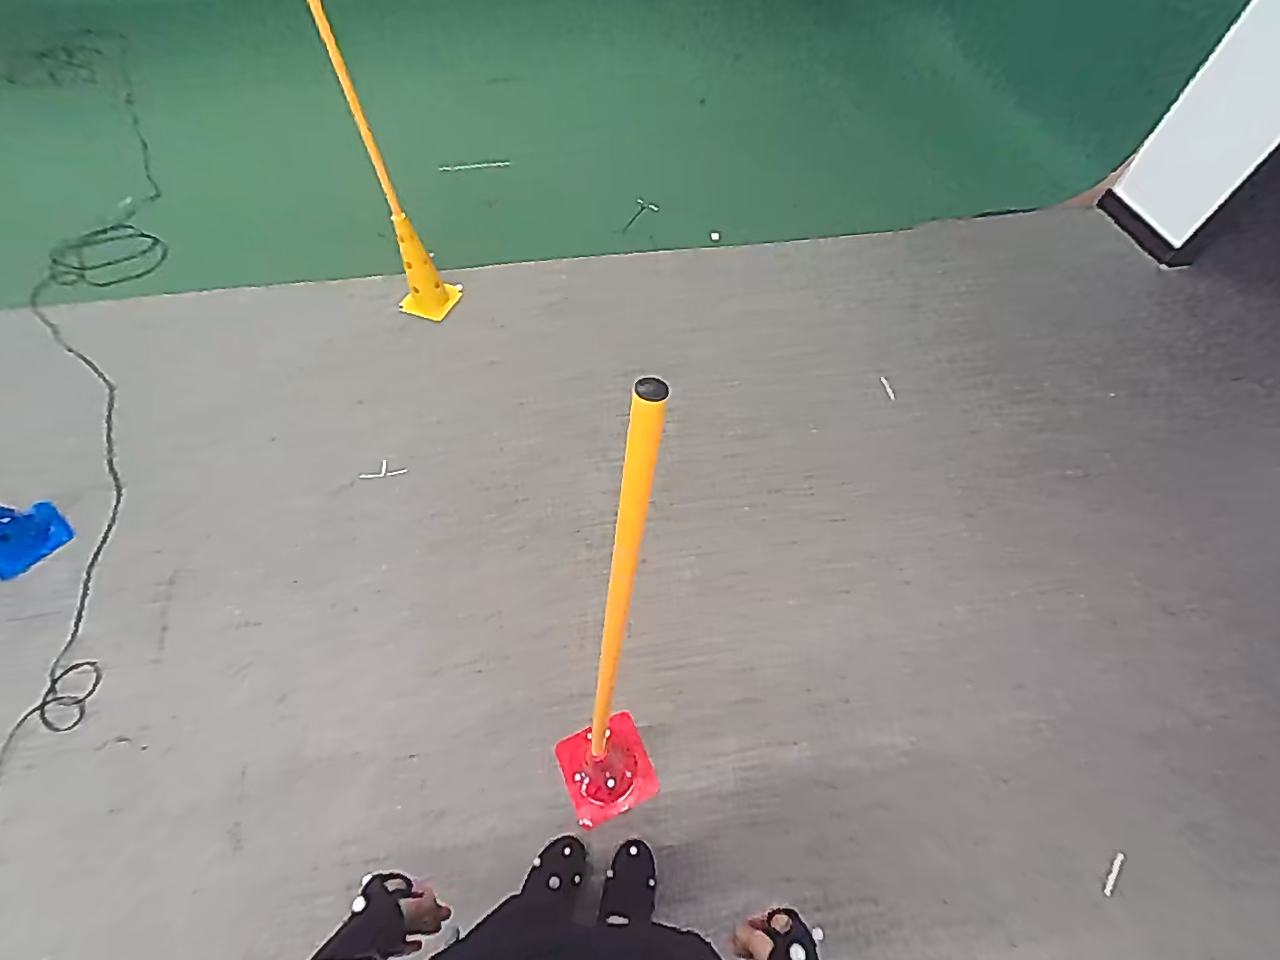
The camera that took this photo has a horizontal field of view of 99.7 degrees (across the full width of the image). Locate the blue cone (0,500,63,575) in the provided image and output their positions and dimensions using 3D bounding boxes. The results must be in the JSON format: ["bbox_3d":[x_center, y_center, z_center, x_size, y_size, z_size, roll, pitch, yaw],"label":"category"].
[{"bbox_3d":[-1.801,0.085,1.426,0.192,0.380,0.193,33,65,17],"label":"blue cone"}]
